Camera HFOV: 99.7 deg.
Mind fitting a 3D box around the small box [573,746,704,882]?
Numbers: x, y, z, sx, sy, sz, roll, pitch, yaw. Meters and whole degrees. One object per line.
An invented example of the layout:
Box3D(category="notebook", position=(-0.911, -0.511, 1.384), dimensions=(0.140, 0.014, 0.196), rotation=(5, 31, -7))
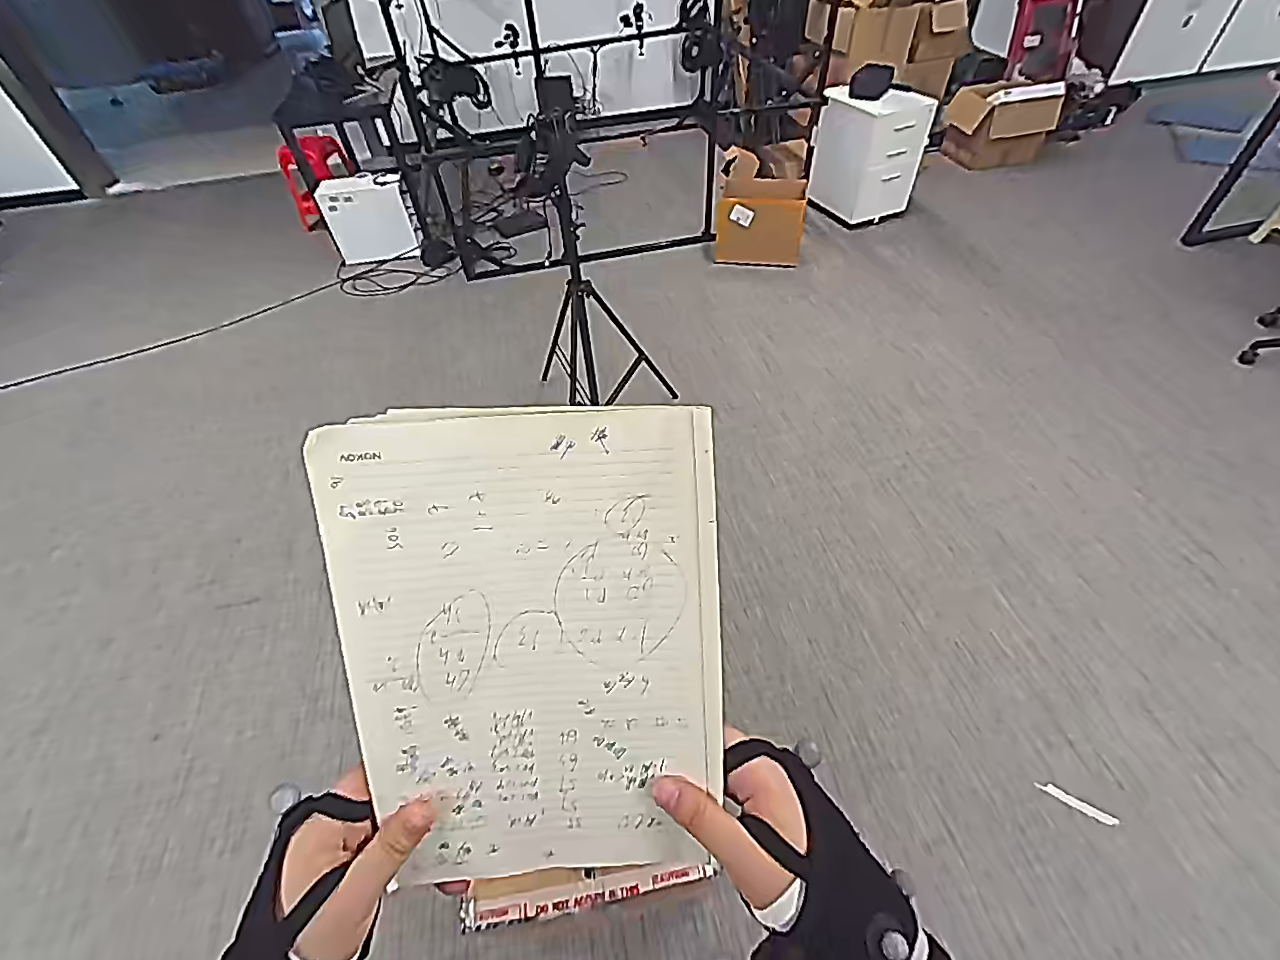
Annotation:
Box3D(category="small box", position=(0.004, 0.484, 0.820), dimensions=(0.179, 0.176, 0.168), rotation=(-12, 50, -9))

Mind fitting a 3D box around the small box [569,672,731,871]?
Box3D(category="small box", position=(0.005, 0.375, 0.696), dimensions=(0.168, 0.176, 0.179), rotation=(-9, 50, -7))
